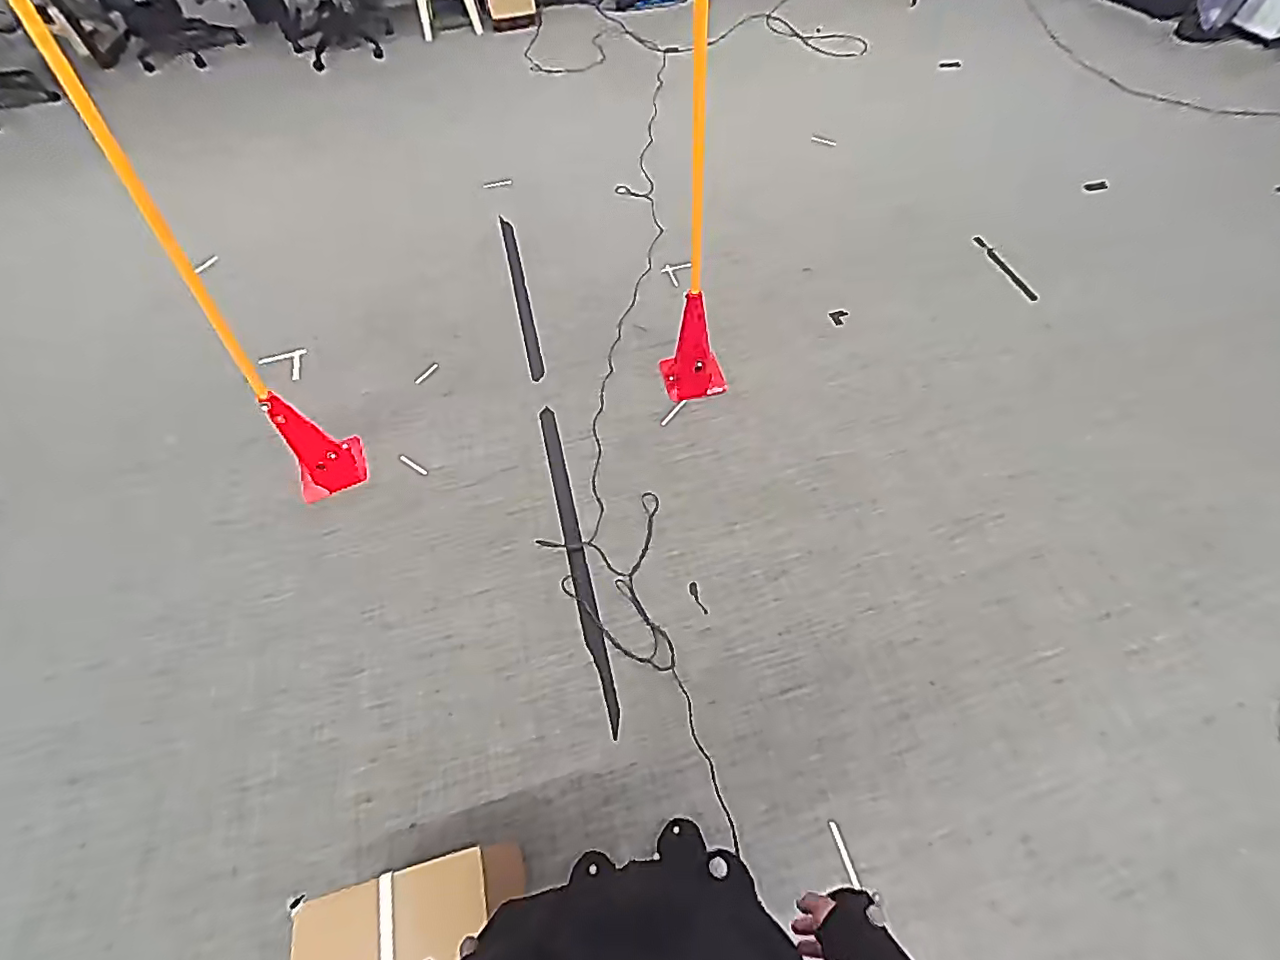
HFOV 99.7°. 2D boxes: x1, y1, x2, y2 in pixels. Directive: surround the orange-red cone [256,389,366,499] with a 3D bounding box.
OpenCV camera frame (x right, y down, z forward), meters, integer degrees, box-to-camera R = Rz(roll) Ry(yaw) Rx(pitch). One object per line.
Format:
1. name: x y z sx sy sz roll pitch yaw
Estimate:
1. orange-red cone: -0.988 -0.133 1.574 0.199 0.360 0.198 -22 59 -9
